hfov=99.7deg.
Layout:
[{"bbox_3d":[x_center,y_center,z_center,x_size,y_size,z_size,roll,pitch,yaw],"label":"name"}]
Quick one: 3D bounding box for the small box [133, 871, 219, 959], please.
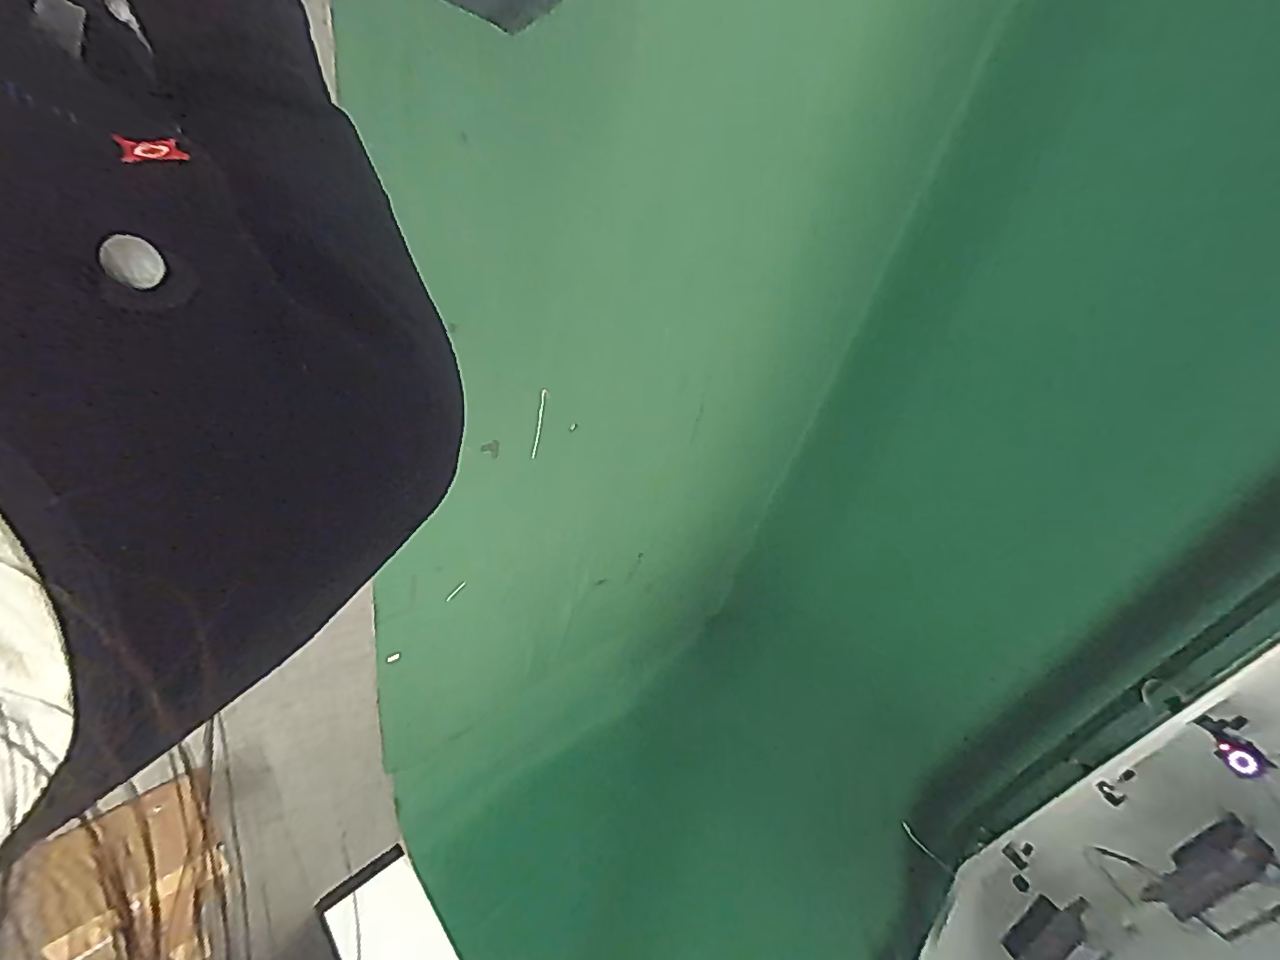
[{"bbox_3d":[-1.441,1.381,1.679,0.179,0.176,0.168,-15,131,-45],"label":"small box"}]
